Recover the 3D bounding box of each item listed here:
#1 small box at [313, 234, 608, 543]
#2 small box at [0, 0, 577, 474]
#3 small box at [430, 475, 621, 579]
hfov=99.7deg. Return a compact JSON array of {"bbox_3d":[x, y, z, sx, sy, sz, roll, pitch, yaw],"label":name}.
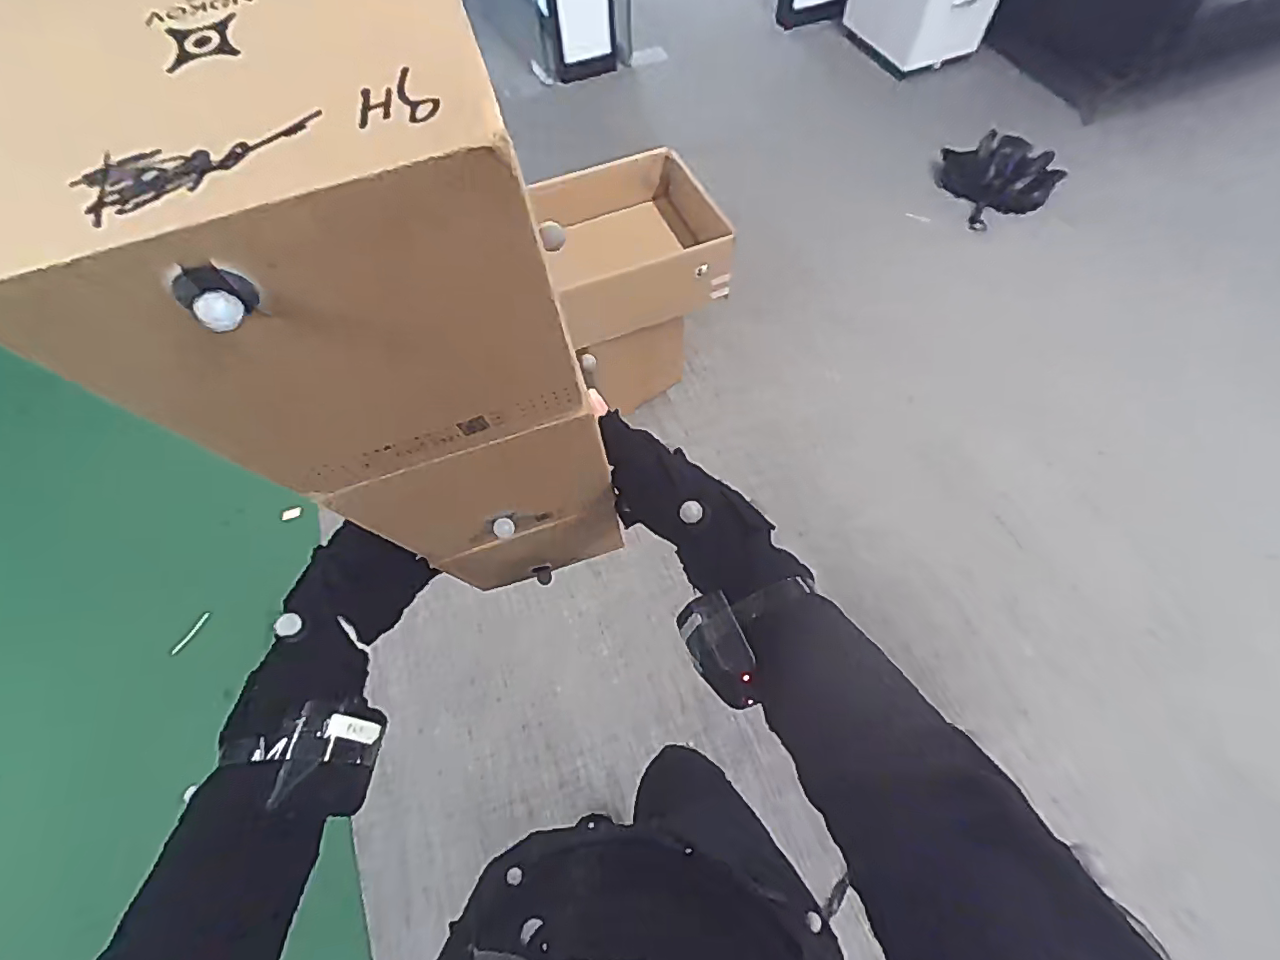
[{"bbox_3d":[-0.130,-0.070,0.419,0.168,0.176,0.179,-18,71,-4],"label":"small box"},{"bbox_3d":[-0.140,-0.128,0.266,0.168,0.176,0.179,-18,70,-3],"label":"small box"},{"bbox_3d":[-0.124,-0.012,0.573,0.168,0.176,0.179,-19,72,-4],"label":"small box"}]
